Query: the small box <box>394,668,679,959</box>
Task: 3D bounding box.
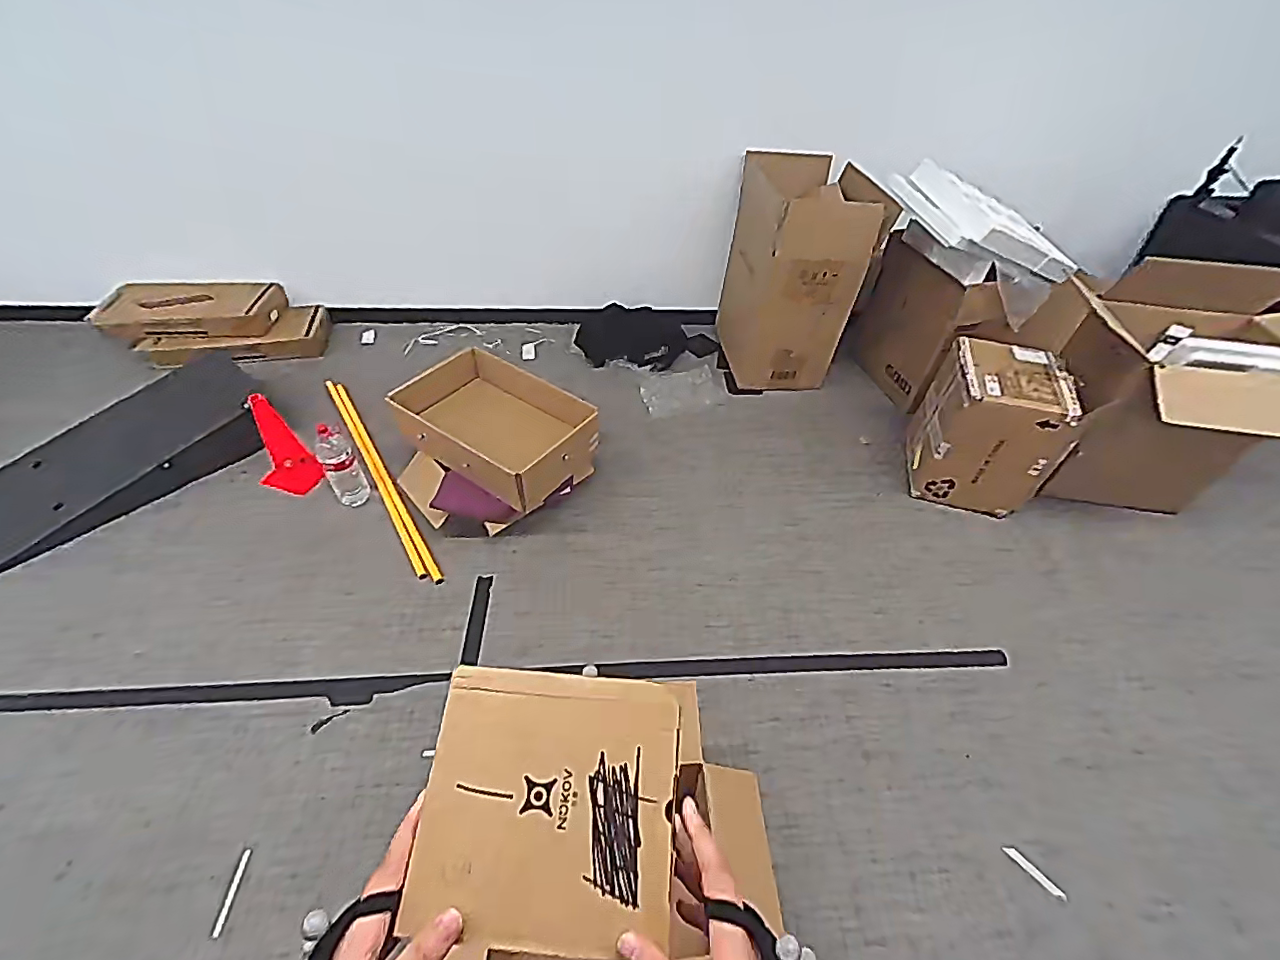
[{"bbox_3d":[-0.064,0.258,0.446,0.179,0.176,0.168,4,63,3],"label":"small box"}]
